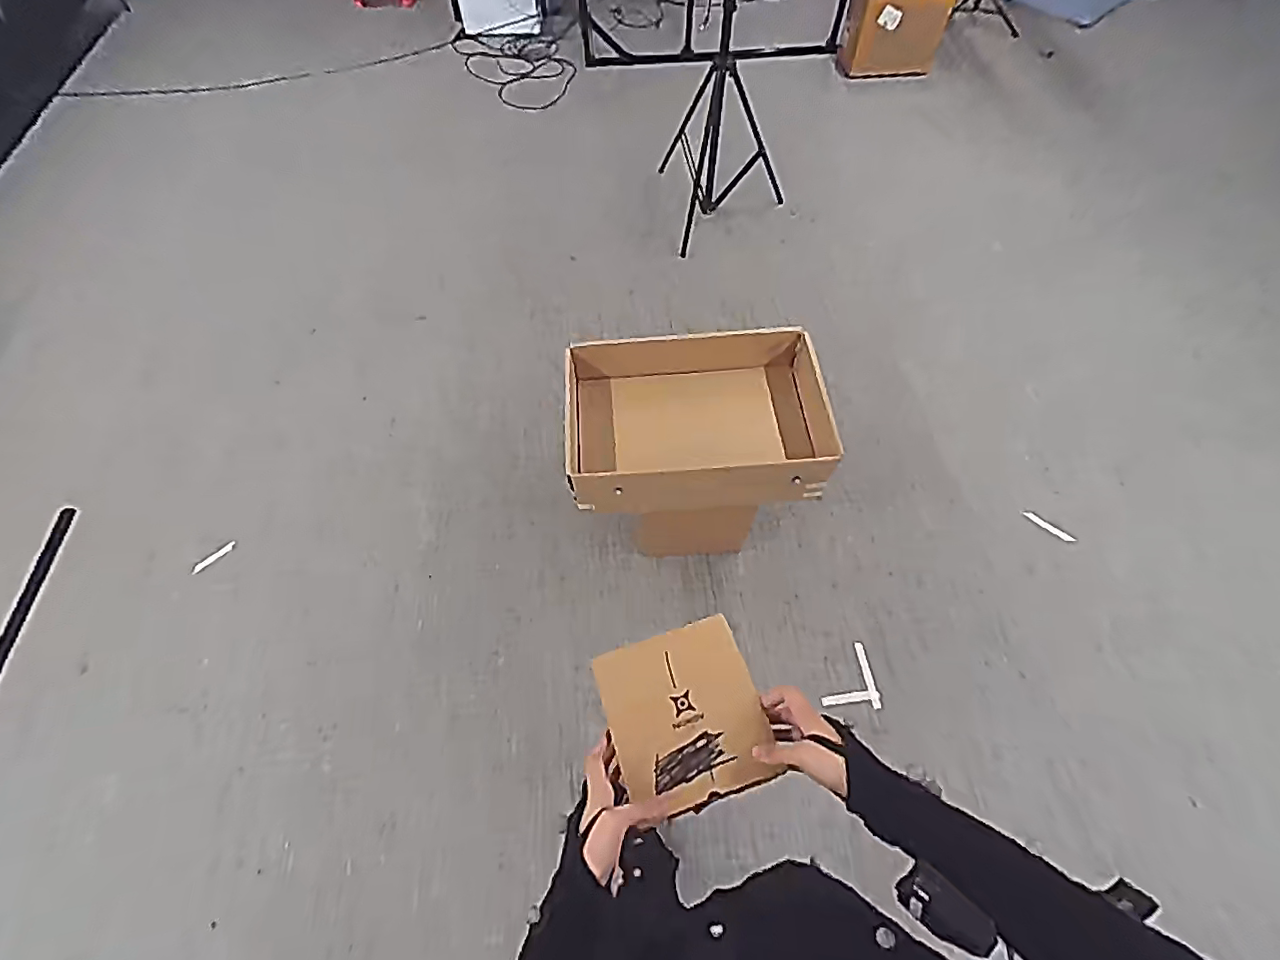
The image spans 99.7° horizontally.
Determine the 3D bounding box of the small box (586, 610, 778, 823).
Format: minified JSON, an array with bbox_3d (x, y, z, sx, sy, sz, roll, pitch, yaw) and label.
[{"bbox_3d":[0.043,0.282,0.651,0.168,0.176,0.179,-16,62,-8],"label":"small box"}]
